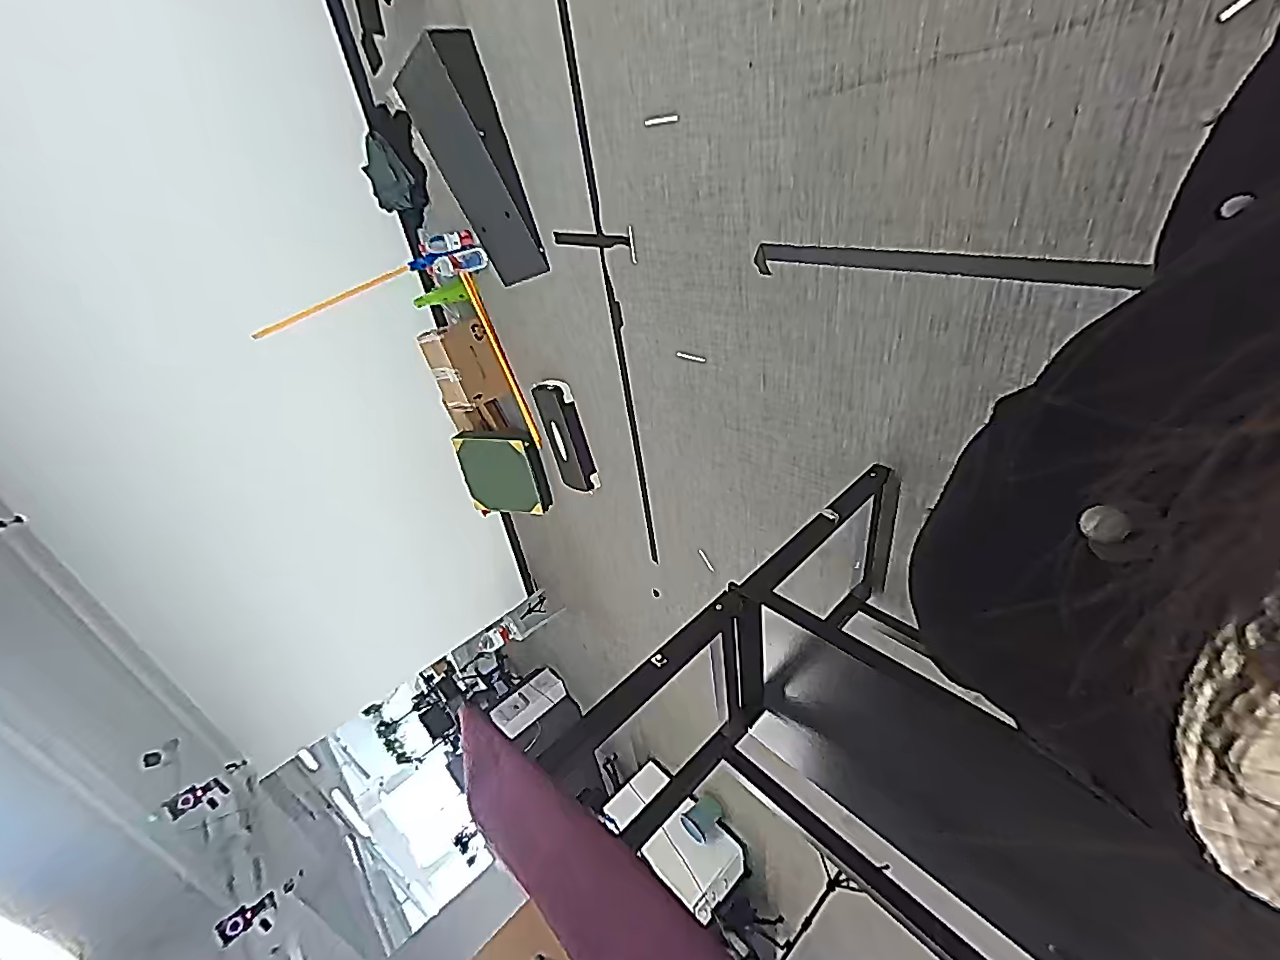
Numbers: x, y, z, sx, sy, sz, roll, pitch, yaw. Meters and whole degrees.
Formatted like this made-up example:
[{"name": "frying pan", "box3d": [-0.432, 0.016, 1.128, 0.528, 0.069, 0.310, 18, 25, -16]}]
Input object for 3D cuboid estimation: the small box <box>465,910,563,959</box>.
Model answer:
[{"name": "small box", "box3d": [-0.196, 0.865, 0.893, 0.179, 0.176, 0.168, 27, 138, 41]}]
